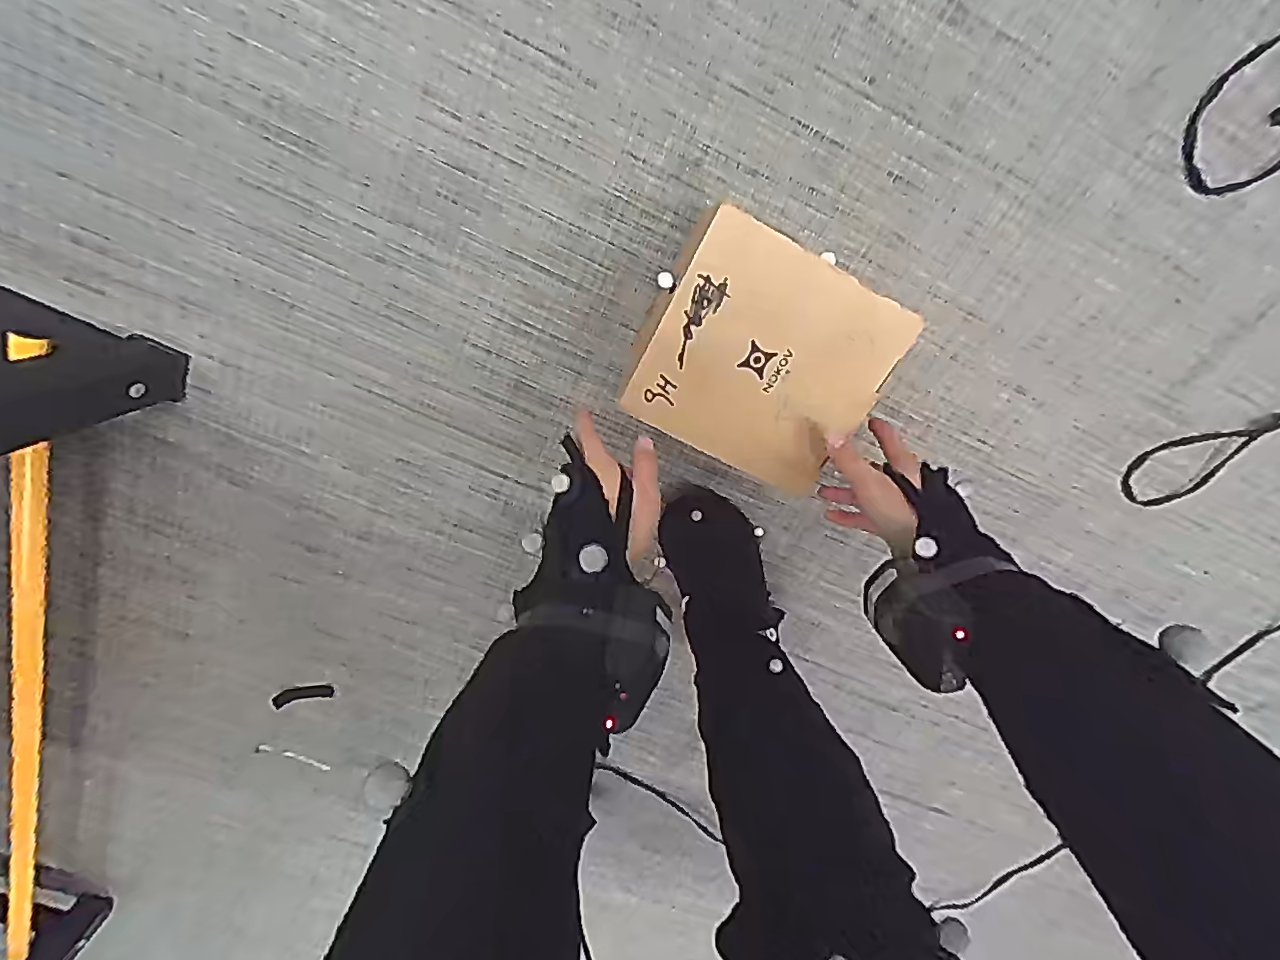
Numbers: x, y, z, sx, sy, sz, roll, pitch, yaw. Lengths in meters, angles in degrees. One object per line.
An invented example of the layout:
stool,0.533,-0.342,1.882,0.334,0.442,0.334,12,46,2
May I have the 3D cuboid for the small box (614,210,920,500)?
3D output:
small box,0.093,-0.116,0.479,0.179,0.176,0.168,26,112,-11
